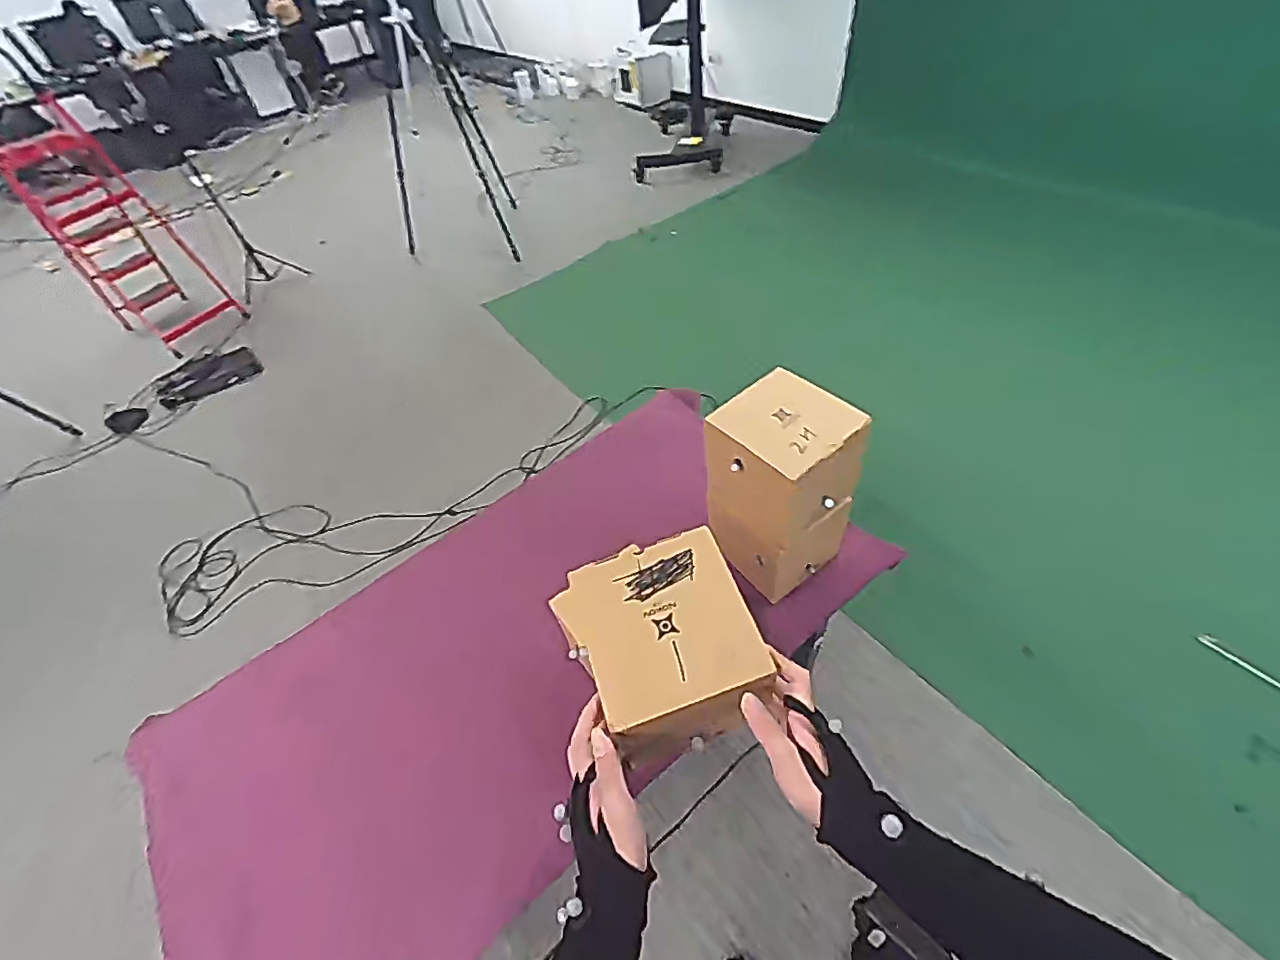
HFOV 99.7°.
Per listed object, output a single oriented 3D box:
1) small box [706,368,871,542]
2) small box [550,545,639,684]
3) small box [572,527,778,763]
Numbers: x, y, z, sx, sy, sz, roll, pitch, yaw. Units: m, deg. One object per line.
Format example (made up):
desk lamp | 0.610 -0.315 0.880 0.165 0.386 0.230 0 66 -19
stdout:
small box | 0.220 -0.037 0.841 0.168 0.176 0.179 -35 53 -18
small box | -0.015 0.244 0.863 0.168 0.176 0.179 -33 51 -18
small box | 0.036 0.186 0.602 0.168 0.176 0.179 -19 53 -4
